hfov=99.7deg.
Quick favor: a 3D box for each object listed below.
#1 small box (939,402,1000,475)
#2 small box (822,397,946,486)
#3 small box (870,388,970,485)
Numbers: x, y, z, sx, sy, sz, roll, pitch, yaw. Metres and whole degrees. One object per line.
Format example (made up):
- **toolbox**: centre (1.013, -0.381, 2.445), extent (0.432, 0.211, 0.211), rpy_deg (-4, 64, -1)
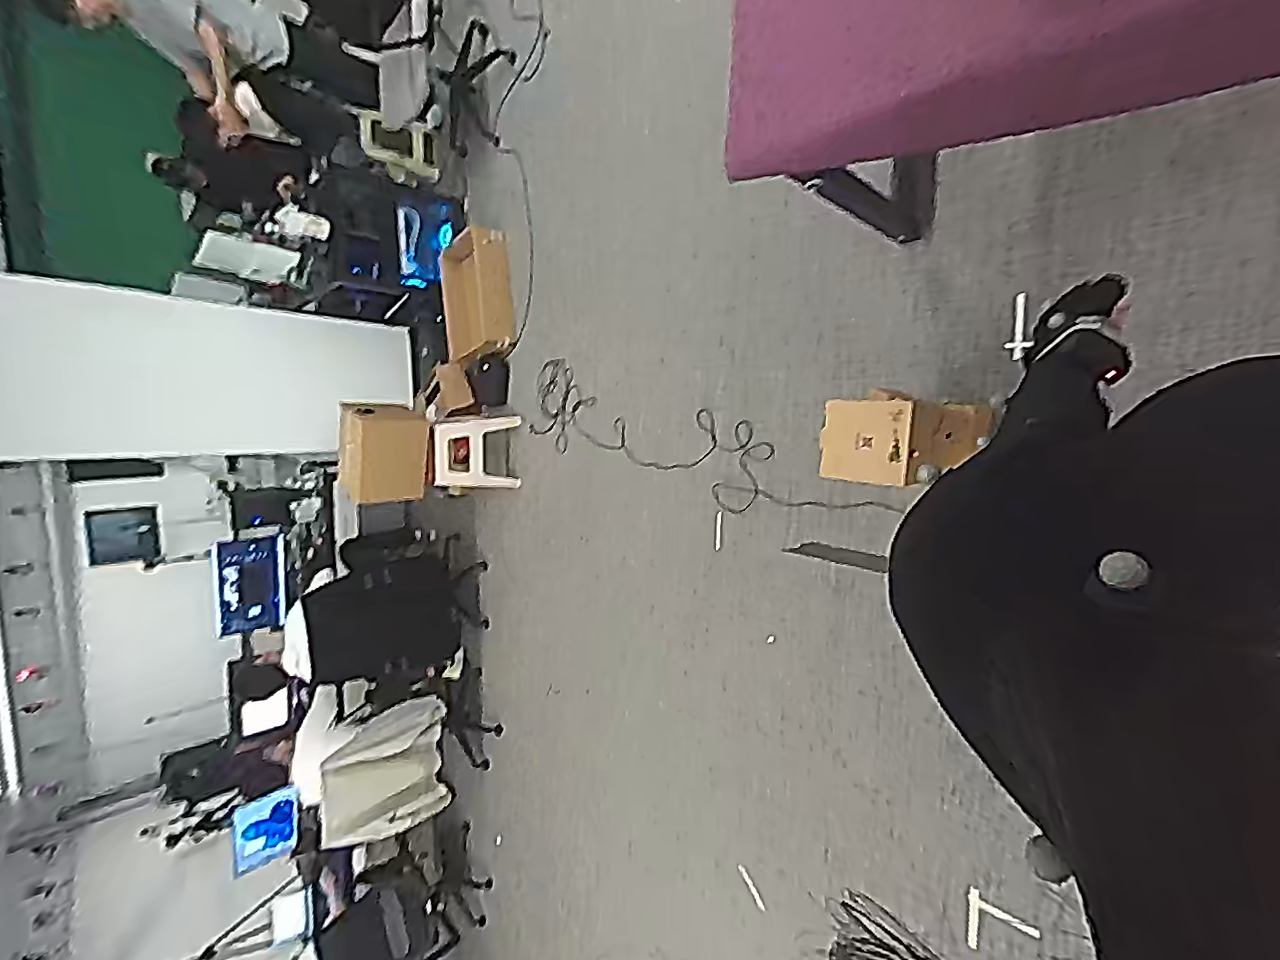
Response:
- **small box**: centre (0.756, -0.106, 1.330), extent (0.179, 0.176, 0.168), rpy_deg (10, 101, 45)
- **small box**: centre (0.505, -0.084, 1.122), extent (0.179, 0.176, 0.168), rpy_deg (9, 101, 46)
- **small box**: centre (0.618, -0.104, 1.240), extent (0.179, 0.176, 0.168), rpy_deg (35, 117, 40)
